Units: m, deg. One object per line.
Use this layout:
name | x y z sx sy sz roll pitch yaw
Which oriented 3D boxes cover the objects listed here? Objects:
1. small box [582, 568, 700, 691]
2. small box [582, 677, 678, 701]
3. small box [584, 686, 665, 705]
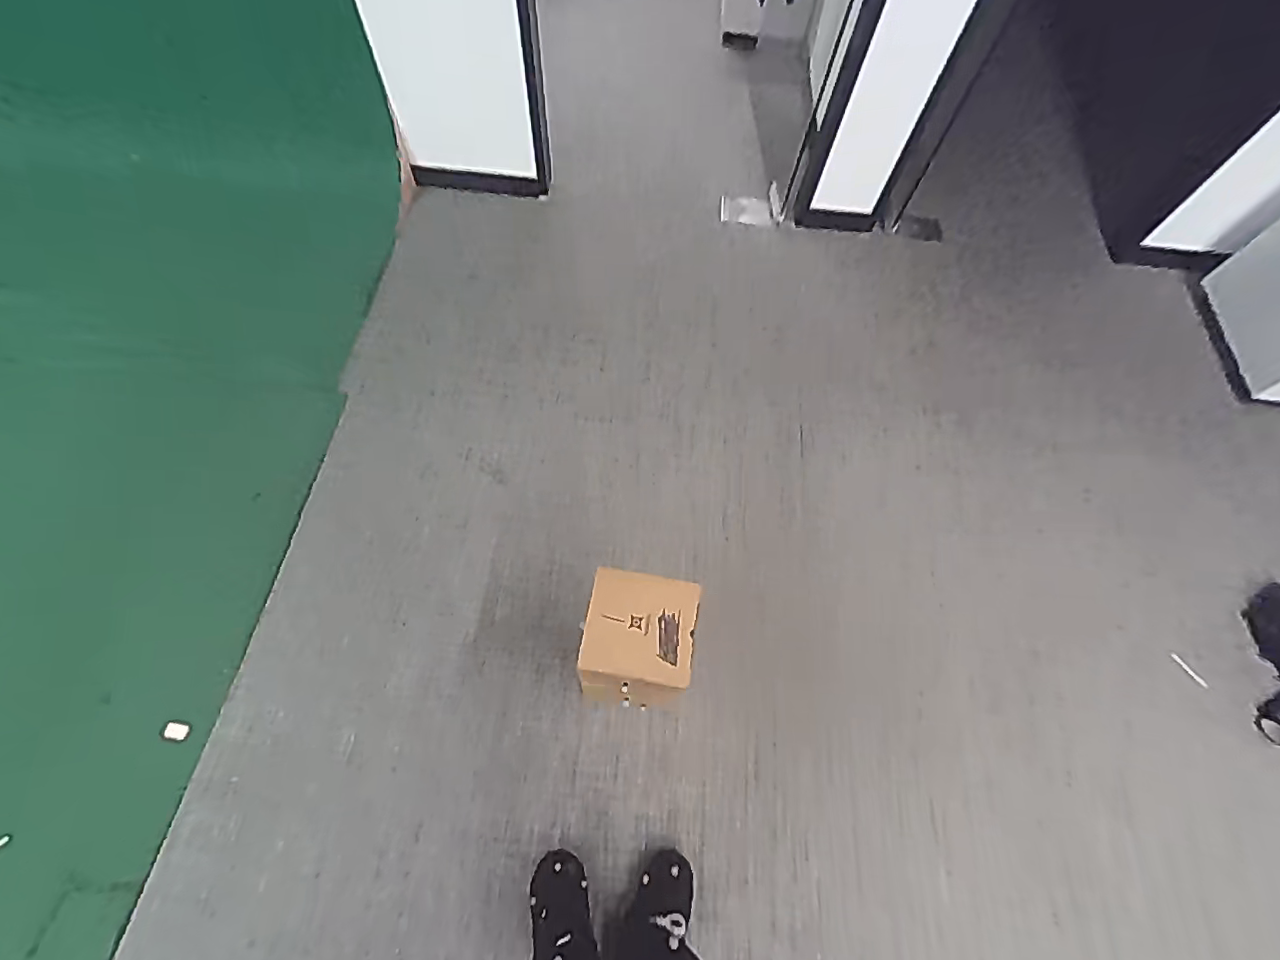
small box | -0.002 0.265 0.934 0.179 0.176 0.168 8 63 -1
small box | -0.013 0.340 1.080 0.179 0.176 0.168 9 63 0
small box | -0.025 0.410 1.227 0.179 0.176 0.168 6 63 1
